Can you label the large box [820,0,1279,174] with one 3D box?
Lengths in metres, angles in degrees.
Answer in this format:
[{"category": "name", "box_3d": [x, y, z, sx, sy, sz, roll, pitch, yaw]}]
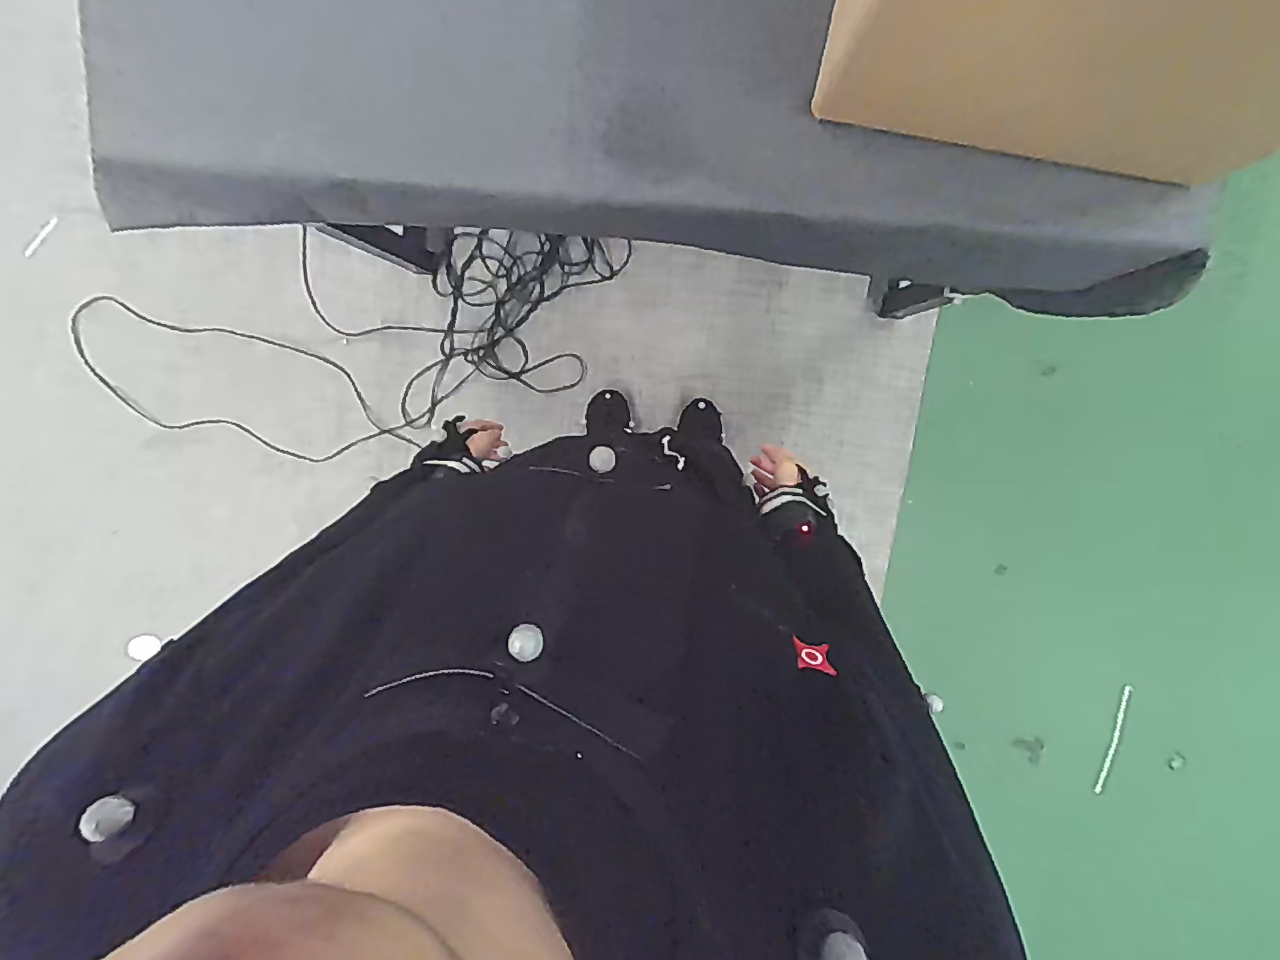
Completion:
[{"category": "large box", "box_3d": [0.394, -0.466, 0.383, 0.408, 0.320, 0.320, 11, 100, 0]}]
